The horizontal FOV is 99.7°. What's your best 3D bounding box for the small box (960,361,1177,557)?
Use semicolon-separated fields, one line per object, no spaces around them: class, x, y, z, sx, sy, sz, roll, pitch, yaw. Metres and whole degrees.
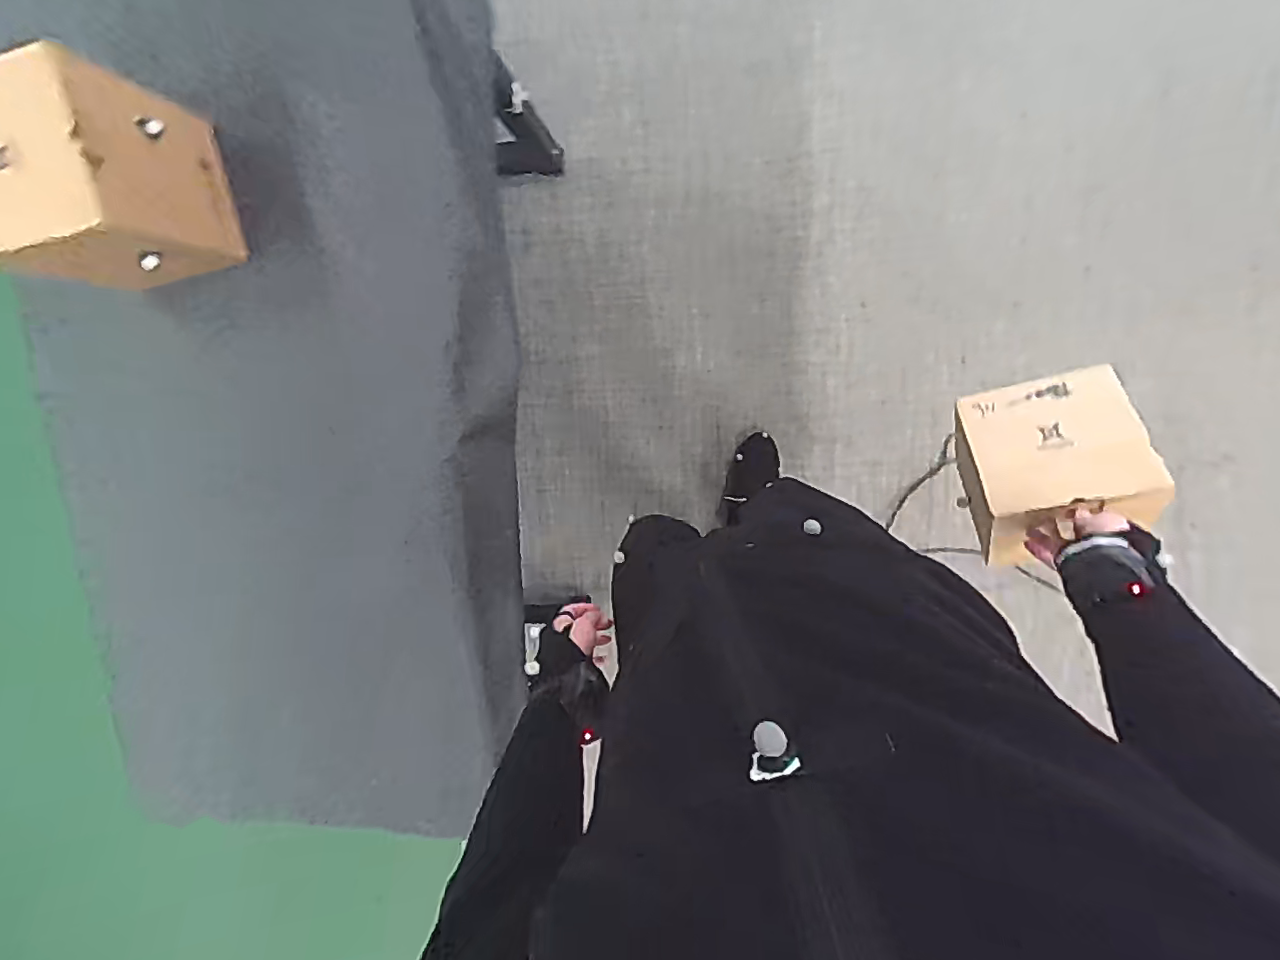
small box;0.519;-0.012;0.683;0.168;0.176;0.179;-12;55;26

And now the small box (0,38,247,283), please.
small box;-0.590;-0.337;0.610;0.179;0.176;0.168;-10;97;10
